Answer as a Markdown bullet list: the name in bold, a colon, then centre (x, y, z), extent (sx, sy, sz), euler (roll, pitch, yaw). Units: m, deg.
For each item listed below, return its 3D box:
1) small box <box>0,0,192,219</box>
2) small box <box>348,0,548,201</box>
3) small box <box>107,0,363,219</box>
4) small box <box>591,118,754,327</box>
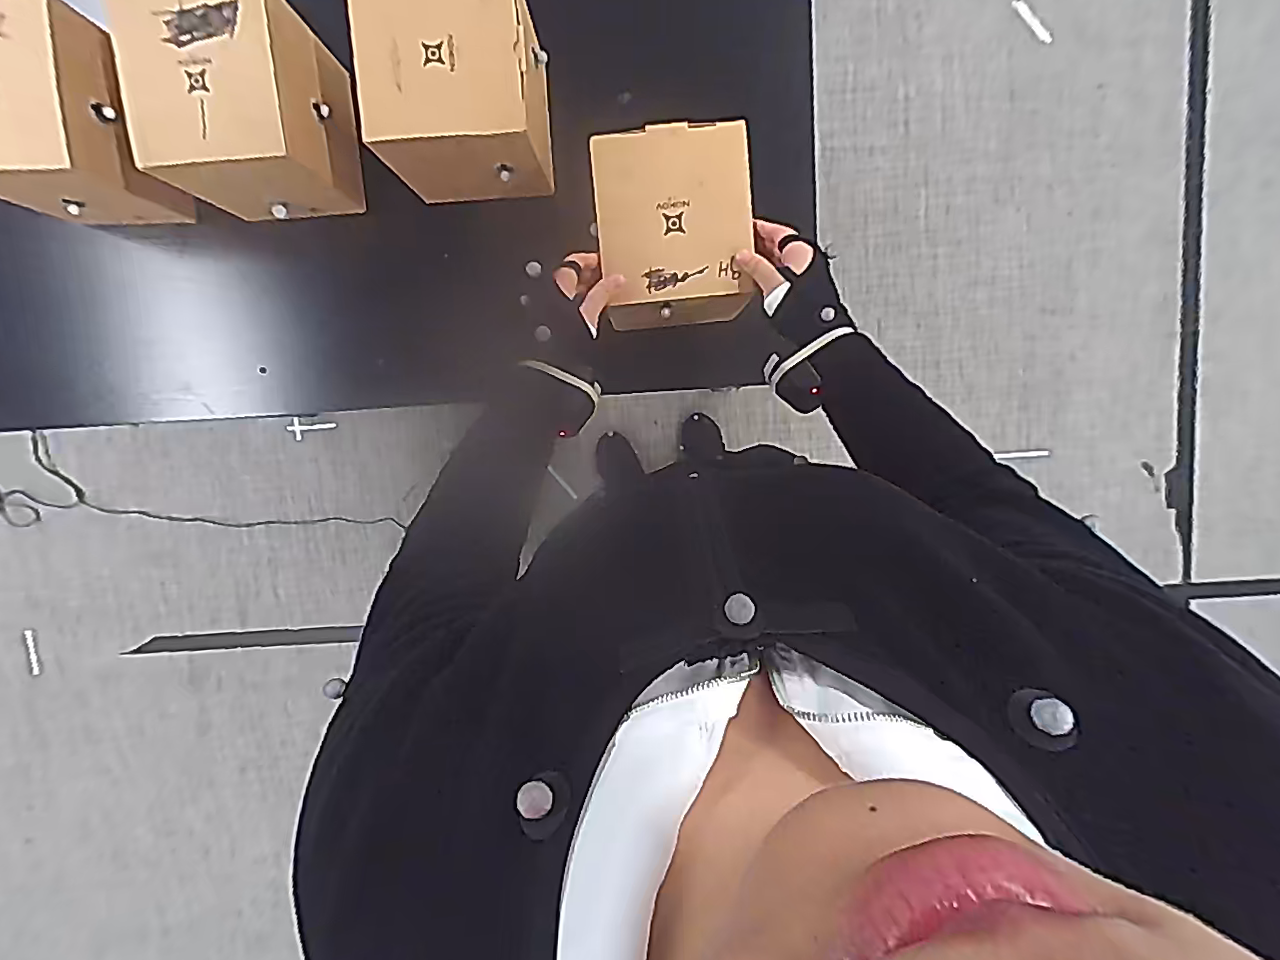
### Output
- **small box**: centre (-0.680, -0.424, 0.641), extent (0.168, 0.176, 0.179), euler (-1, 97, 0)
- **small box**: centre (-0.208, -0.449, 0.635), extent (0.179, 0.176, 0.168), euler (-3, 96, 2)
- **small box**: centre (-0.455, -0.431, 0.637), extent (0.168, 0.176, 0.179), euler (-5, 98, 0)
- **small box**: centre (0.036, -0.293, 0.650), extent (0.168, 0.176, 0.179), euler (-5, 97, 2)
